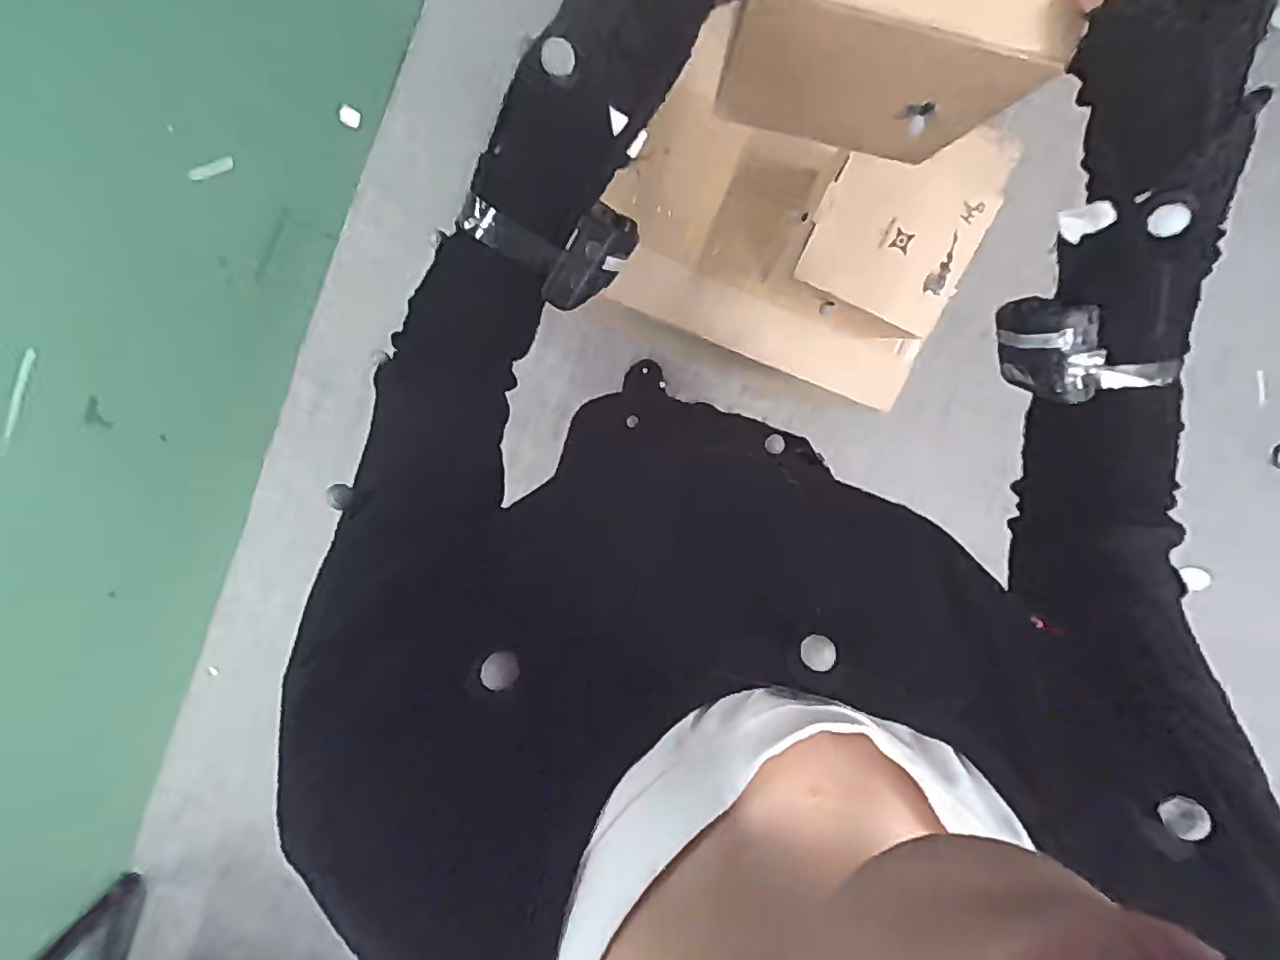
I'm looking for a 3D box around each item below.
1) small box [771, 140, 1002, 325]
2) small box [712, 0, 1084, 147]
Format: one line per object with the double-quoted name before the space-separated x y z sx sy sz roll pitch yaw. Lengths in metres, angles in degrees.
"small box" 0.285 -0.301 0.675 0.179 0.176 0.168 24 105 -4
"small box" 0.154 -0.335 0.339 0.179 0.176 0.168 9 103 -2
